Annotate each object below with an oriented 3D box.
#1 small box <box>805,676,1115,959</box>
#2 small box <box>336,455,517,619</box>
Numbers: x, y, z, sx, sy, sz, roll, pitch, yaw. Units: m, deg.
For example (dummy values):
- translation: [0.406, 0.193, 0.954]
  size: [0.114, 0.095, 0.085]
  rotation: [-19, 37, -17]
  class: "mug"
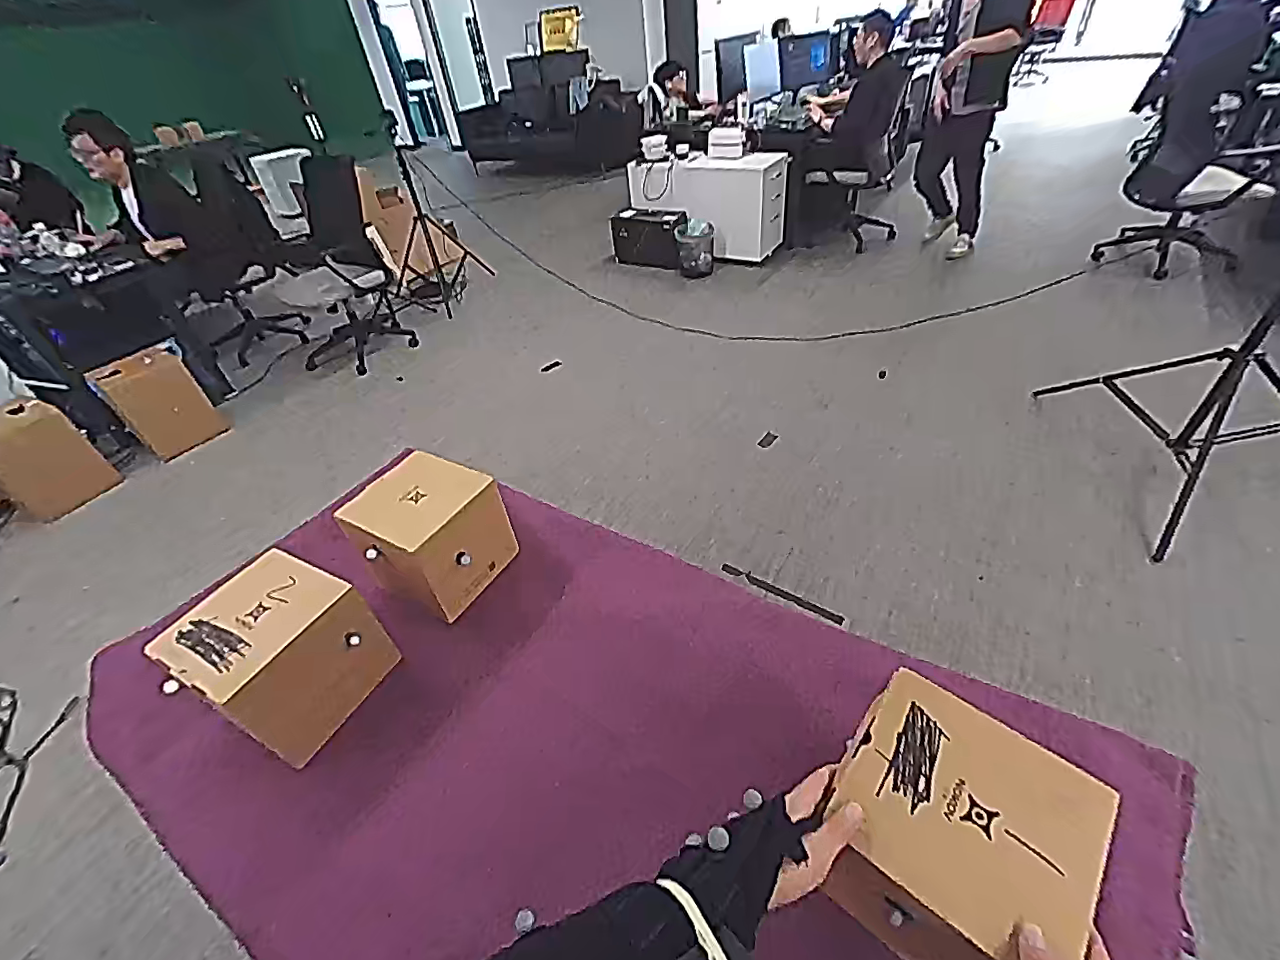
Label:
- translation: [0.266, 0.322, 0.485]
  size: [0.179, 0.176, 0.168]
  rotation: [27, 54, 32]
  class: "small box"
- translation: [-0.321, 0.091, 0.849]
  size: [0.179, 0.176, 0.168]
  rotation: [17, 46, 26]
  class: "small box"
